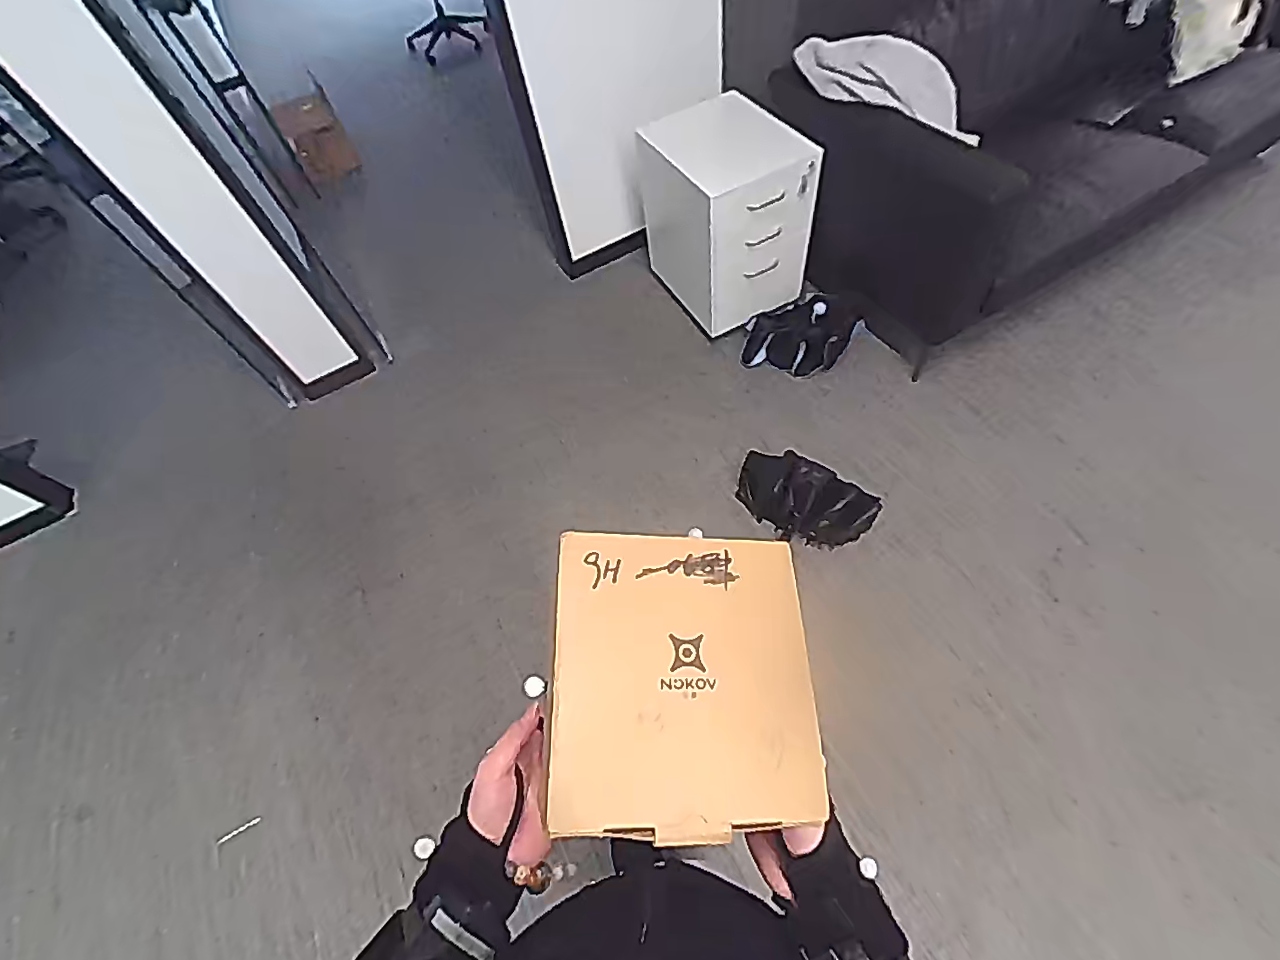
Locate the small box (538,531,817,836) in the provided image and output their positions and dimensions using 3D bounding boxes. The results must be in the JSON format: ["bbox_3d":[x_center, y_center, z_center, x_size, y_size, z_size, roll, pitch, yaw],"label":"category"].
[{"bbox_3d":[0.011,0.151,0.412,0.168,0.176,0.179,4,65,-10],"label":"small box"}]
